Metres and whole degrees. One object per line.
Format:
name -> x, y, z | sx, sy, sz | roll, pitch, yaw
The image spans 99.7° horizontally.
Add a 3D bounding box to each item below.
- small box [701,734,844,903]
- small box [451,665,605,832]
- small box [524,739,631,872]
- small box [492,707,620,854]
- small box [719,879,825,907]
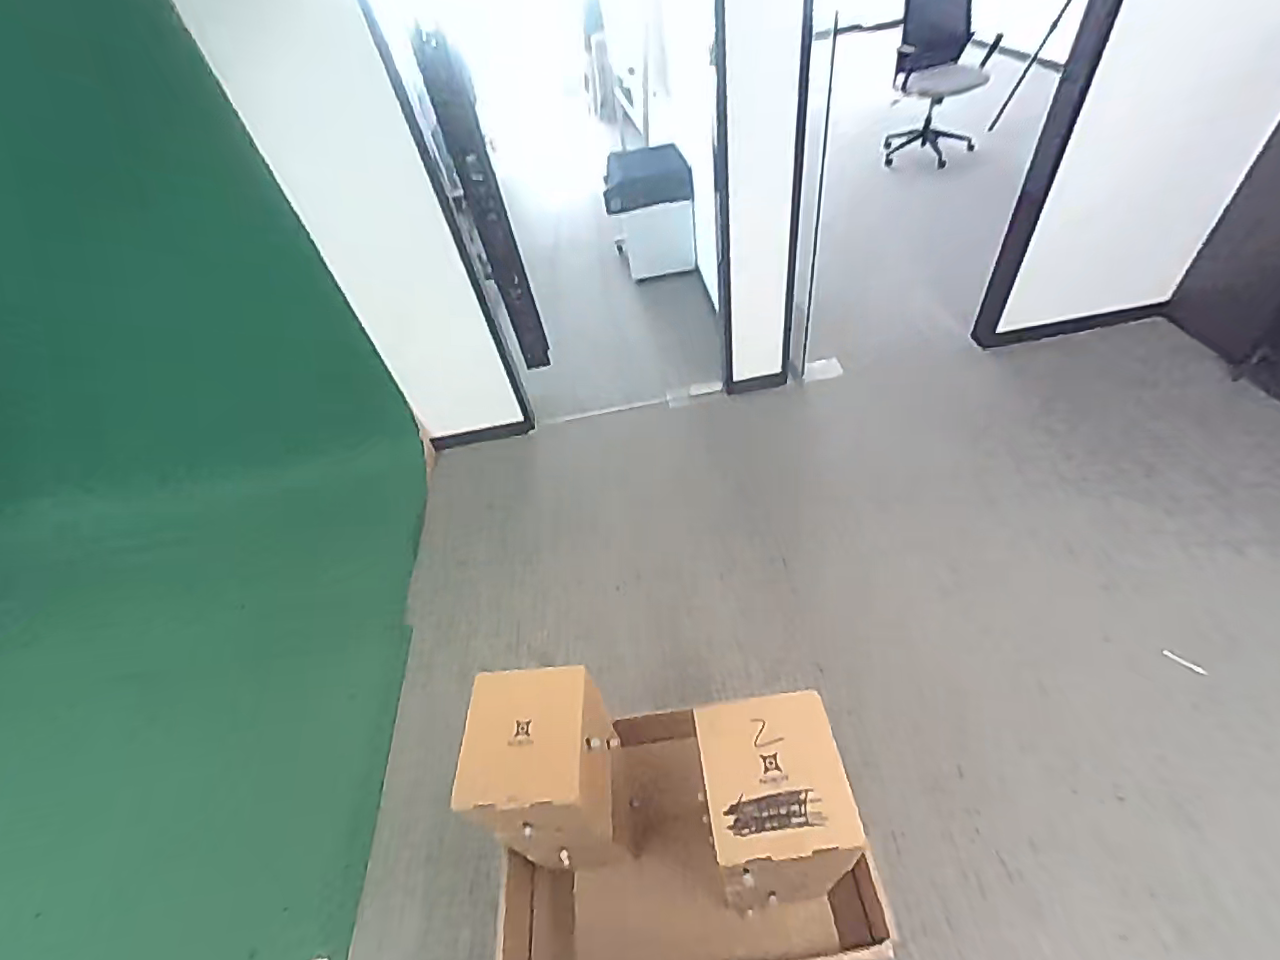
small box -> 0.190, 0.517, 0.825 | 0.168, 0.176, 0.179 | -10, 46, 2
small box -> -0.147, 0.390, 0.783 | 0.168, 0.176, 0.179 | -5, 47, 5
small box -> -0.109, 0.613, 1.017 | 0.168, 0.176, 0.179 | -7, 46, 3
small box -> -0.129, 0.500, 0.900 | 0.168, 0.176, 0.179 | -7, 47, 5
small box -> 0.212, 0.626, 0.944 | 0.168, 0.176, 0.179 | -9, 46, 1
